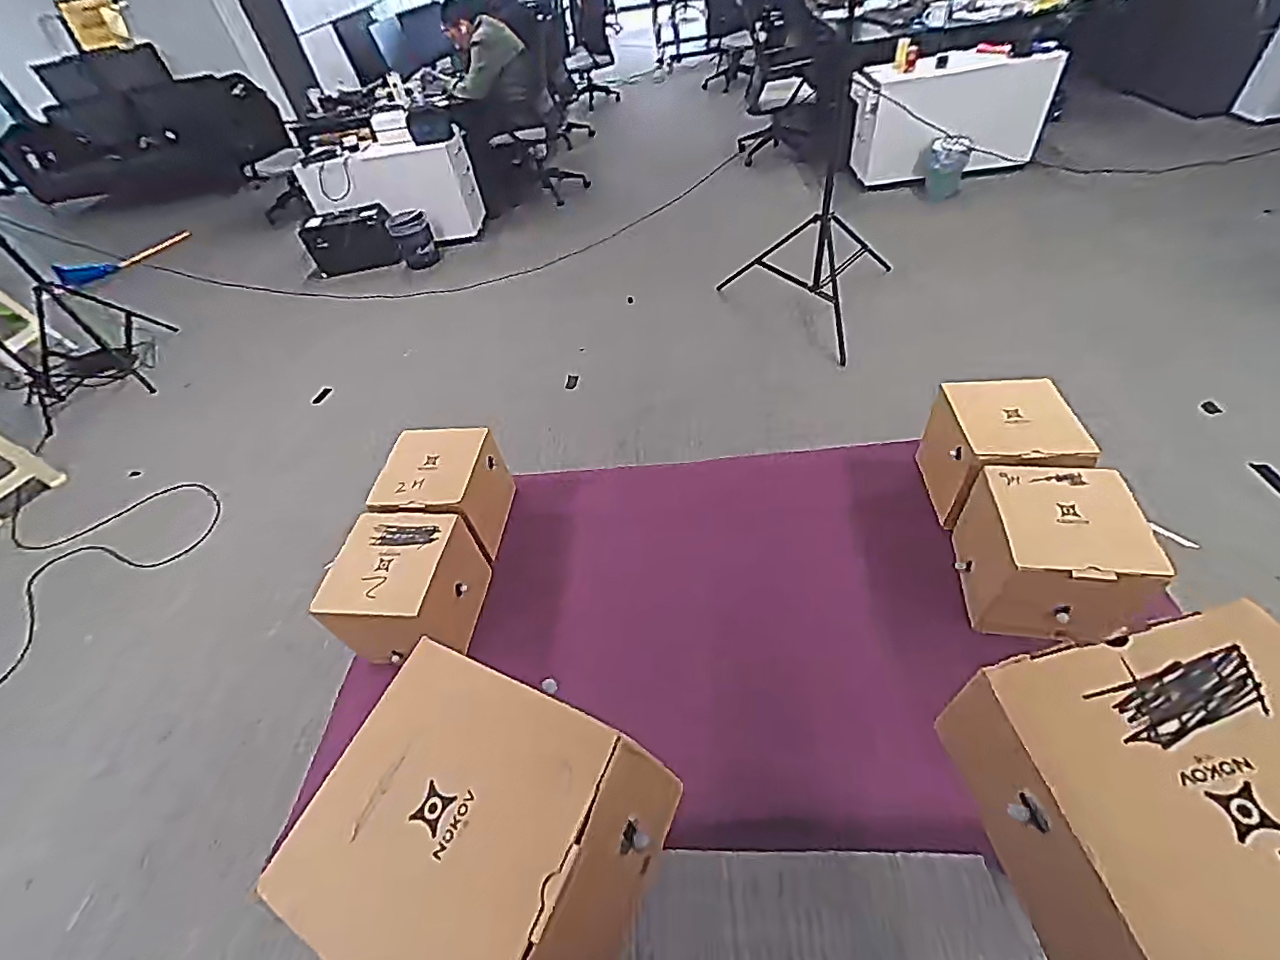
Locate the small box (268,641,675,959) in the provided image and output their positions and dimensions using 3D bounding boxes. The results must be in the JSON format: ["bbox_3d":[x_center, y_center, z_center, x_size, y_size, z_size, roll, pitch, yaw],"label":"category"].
[{"bbox_3d":[-0.093,0.244,0.380,0.179,0.176,0.168,12,57,28],"label":"small box"}]

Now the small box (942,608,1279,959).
[{"bbox_3d":[0.326,0.211,0.347,0.168,0.176,0.179,-17,53,5],"label":"small box"}]

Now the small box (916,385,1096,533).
[{"bbox_3d":[0.571,-0.034,0.878,0.168,0.176,0.179,-1,47,8],"label":"small box"}]

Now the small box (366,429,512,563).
[{"bbox_3d":[-0.343,0.029,0.966,0.168,0.176,0.179,-1,48,9],"label":"small box"}]
